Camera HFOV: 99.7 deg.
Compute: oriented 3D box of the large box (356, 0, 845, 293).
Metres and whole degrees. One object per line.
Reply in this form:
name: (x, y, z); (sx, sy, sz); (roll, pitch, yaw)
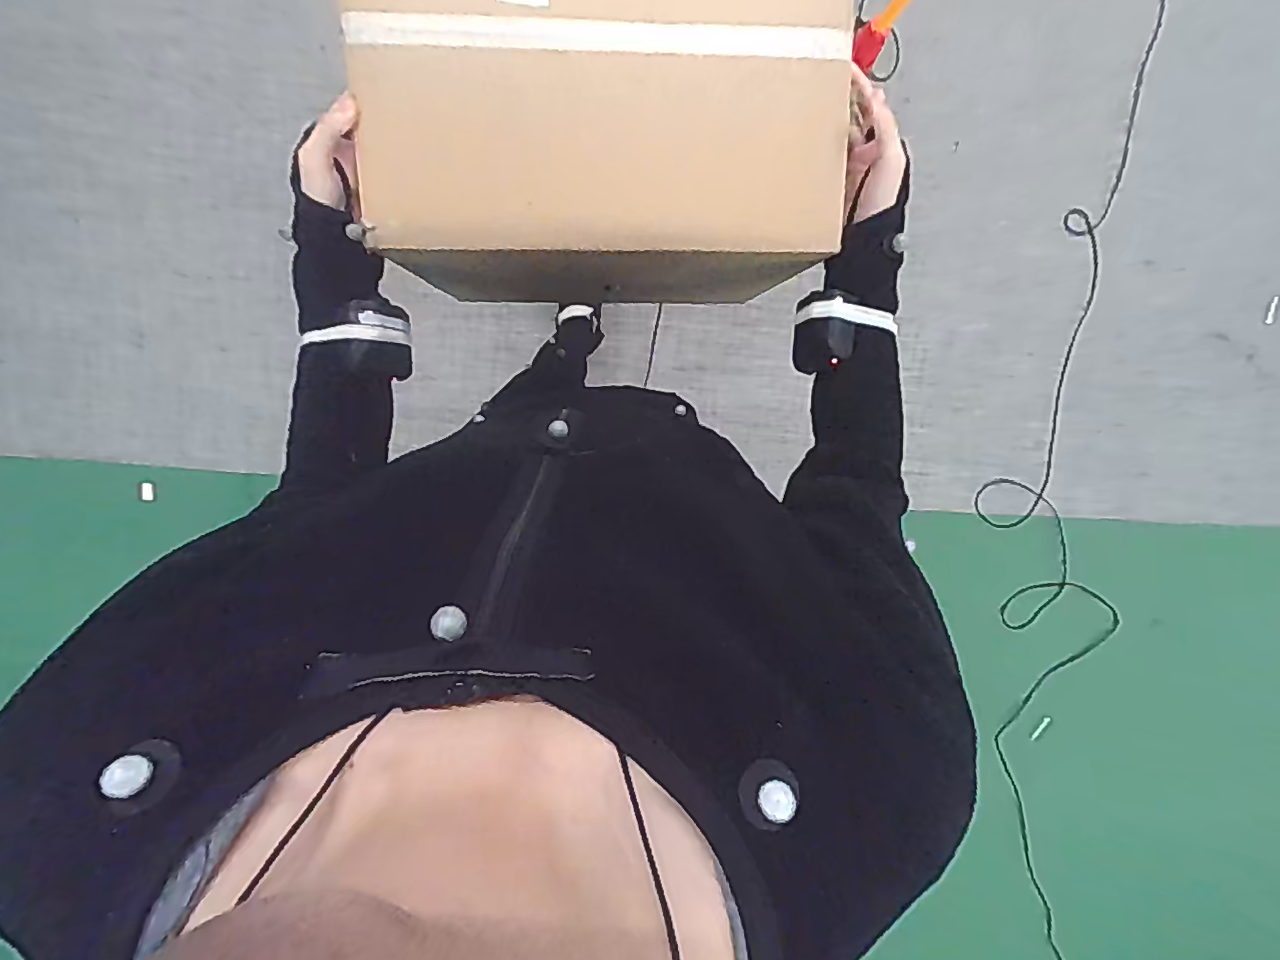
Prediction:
large box: (-0.035, -0.384, 0.590); (0.408, 0.320, 0.320); (-1, 100, -4)
